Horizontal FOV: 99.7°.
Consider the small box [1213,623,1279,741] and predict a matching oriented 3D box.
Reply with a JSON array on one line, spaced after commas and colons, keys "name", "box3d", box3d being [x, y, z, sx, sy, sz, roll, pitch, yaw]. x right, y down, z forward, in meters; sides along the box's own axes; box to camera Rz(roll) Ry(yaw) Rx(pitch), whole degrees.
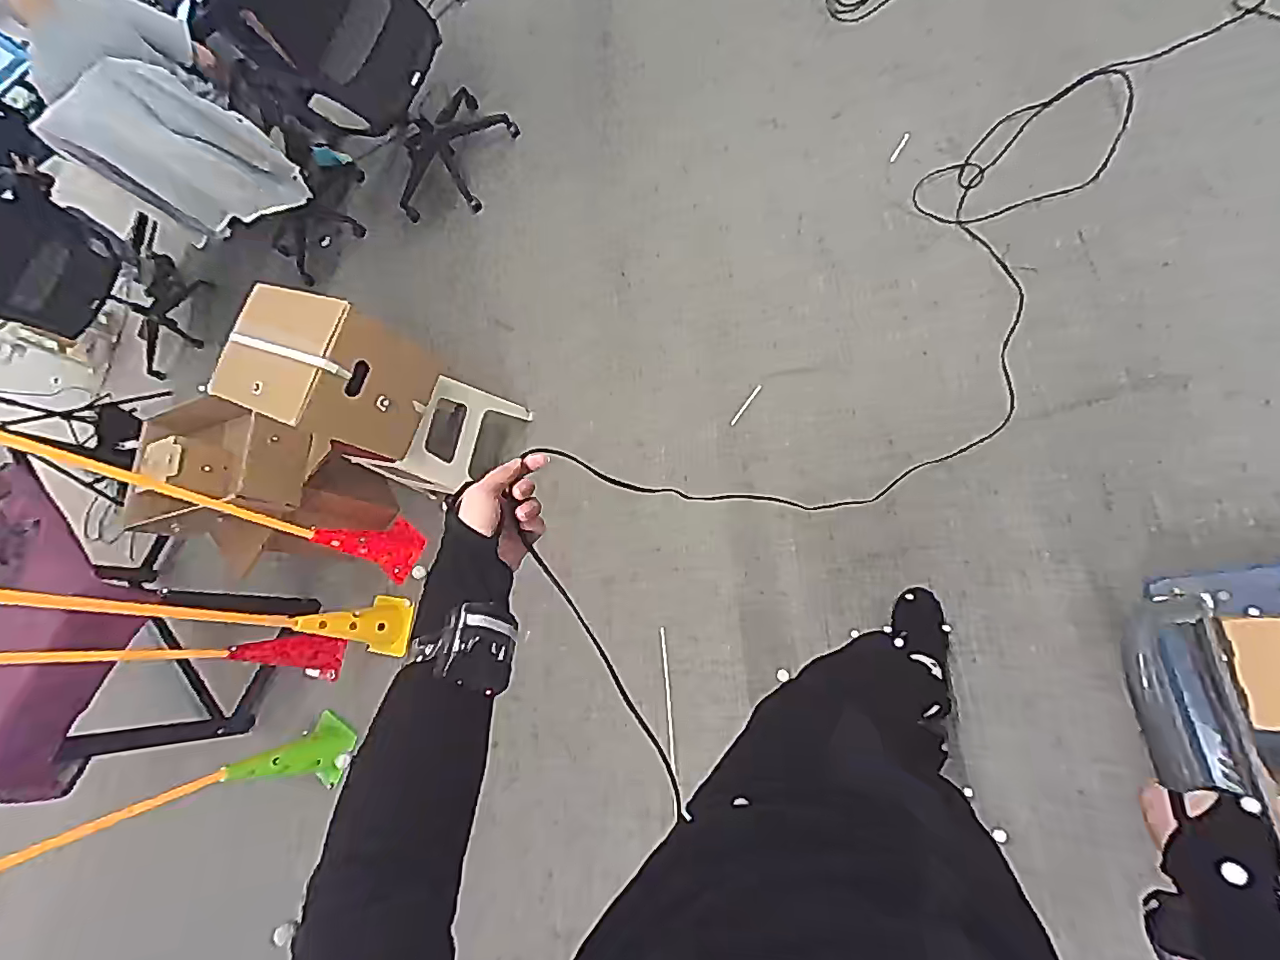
[{"name": "small box", "box3d": [1.048, 0.312, 0.846, 0.179, 0.176, 0.168, -15, 71, 41]}]
